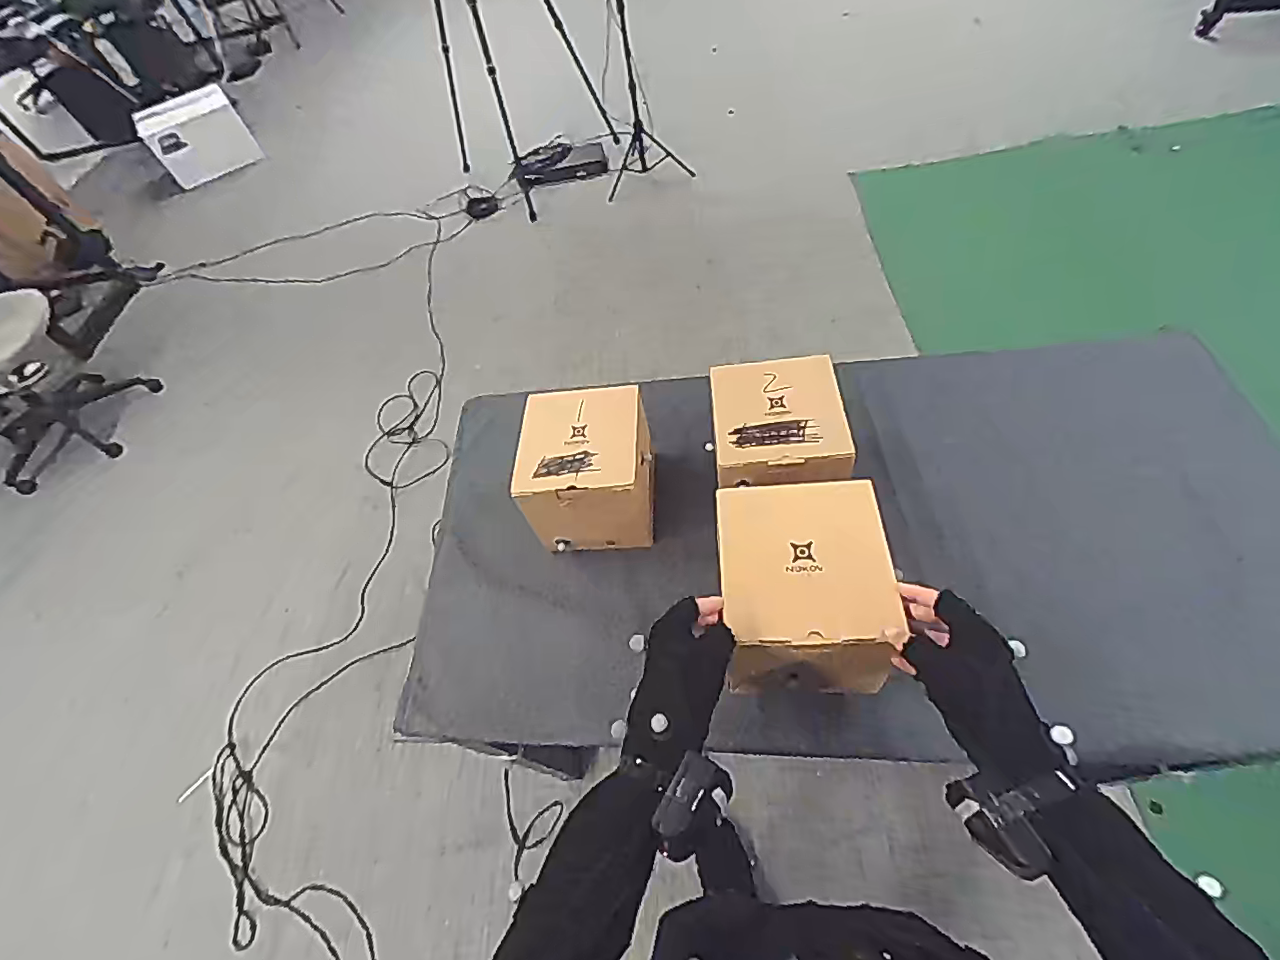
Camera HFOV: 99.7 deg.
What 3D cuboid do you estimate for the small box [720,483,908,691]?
[{"bbox_3d":[0.177,0.124,0.609,0.168,0.176,0.179,-4,54,9],"label":"small box"}]

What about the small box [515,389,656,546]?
[{"bbox_3d":[-0.068,-0.010,0.803,0.168,0.176,0.179,-4,55,8],"label":"small box"}]
